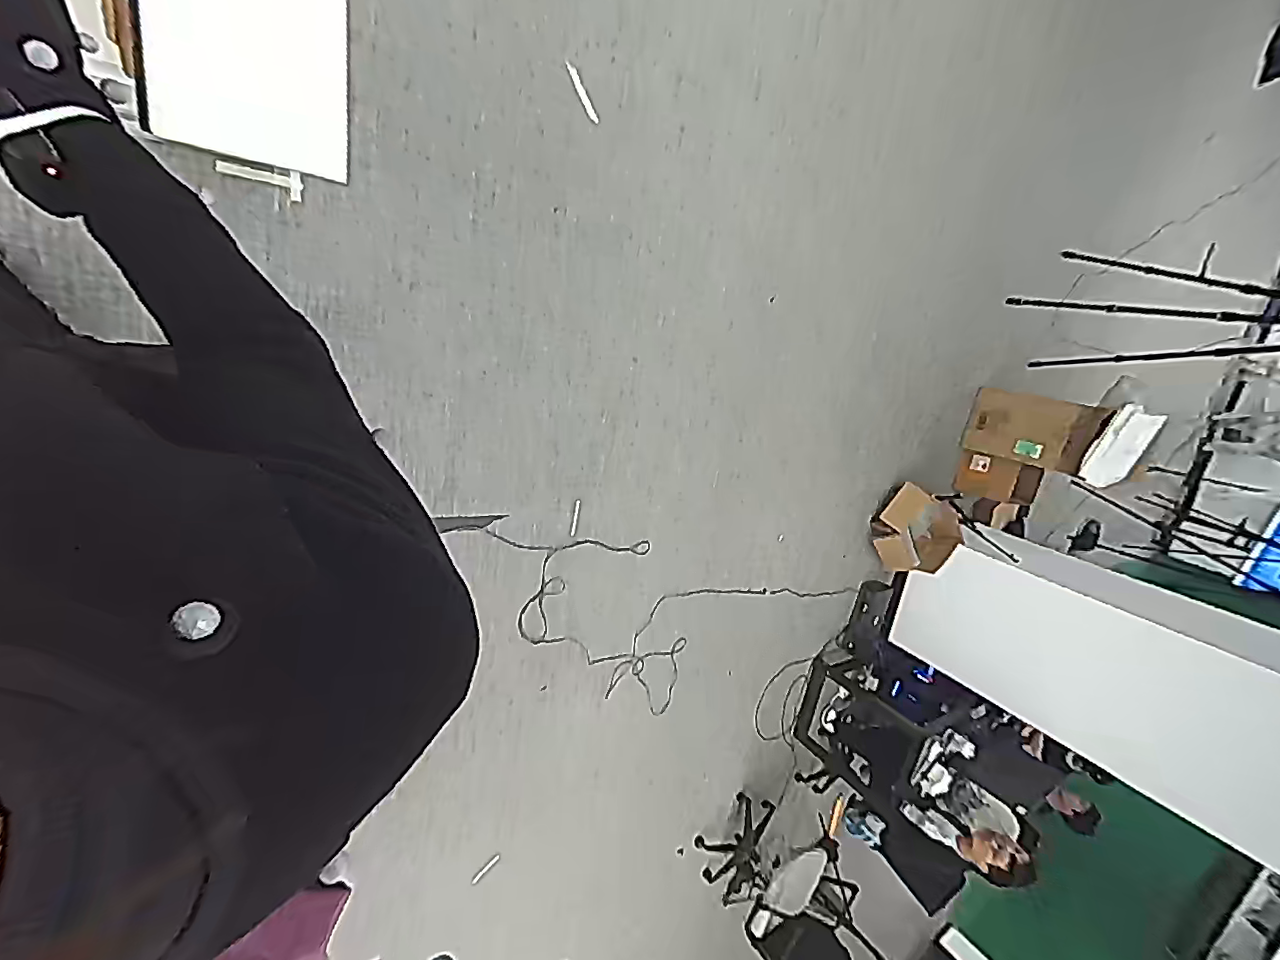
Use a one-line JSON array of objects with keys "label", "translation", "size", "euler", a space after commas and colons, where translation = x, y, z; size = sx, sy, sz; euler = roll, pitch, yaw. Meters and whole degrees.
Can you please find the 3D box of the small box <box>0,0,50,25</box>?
[{"label": "small box", "translation": [-0.583, -0.425, 0.367], "size": [0.179, 0.176, 0.168], "euler": [-25, 127, -20]}]
